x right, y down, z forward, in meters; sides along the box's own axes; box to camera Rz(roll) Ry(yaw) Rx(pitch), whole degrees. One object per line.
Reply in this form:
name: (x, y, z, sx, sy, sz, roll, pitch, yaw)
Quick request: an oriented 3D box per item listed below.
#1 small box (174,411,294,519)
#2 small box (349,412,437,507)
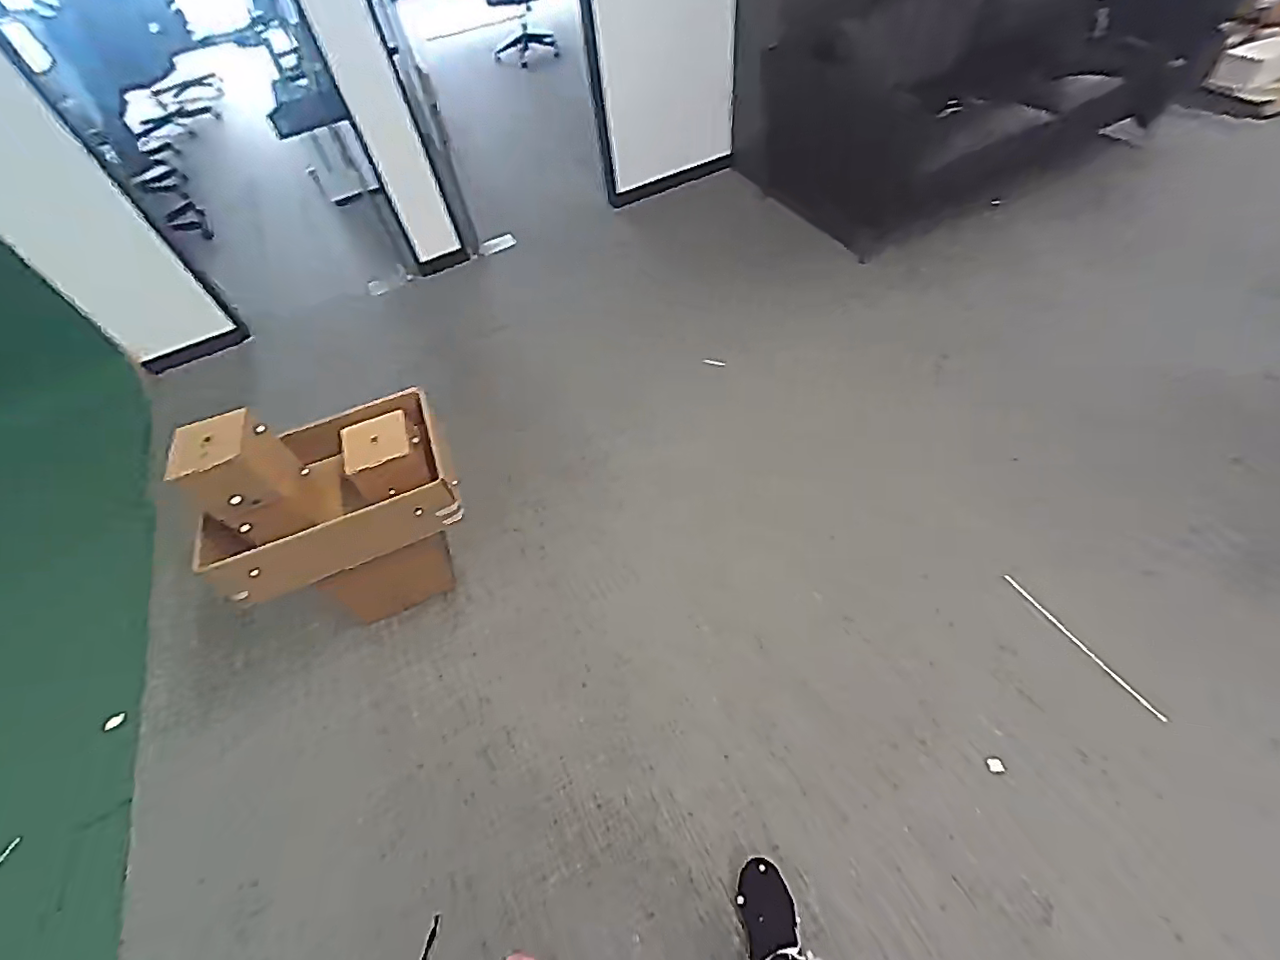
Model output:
small box: (-0.987, -0.035, 1.333, 0.168, 0.176, 0.179, -20, 54, -6)
small box: (-0.688, -0.055, 1.514, 0.168, 0.176, 0.179, -21, 55, -9)
